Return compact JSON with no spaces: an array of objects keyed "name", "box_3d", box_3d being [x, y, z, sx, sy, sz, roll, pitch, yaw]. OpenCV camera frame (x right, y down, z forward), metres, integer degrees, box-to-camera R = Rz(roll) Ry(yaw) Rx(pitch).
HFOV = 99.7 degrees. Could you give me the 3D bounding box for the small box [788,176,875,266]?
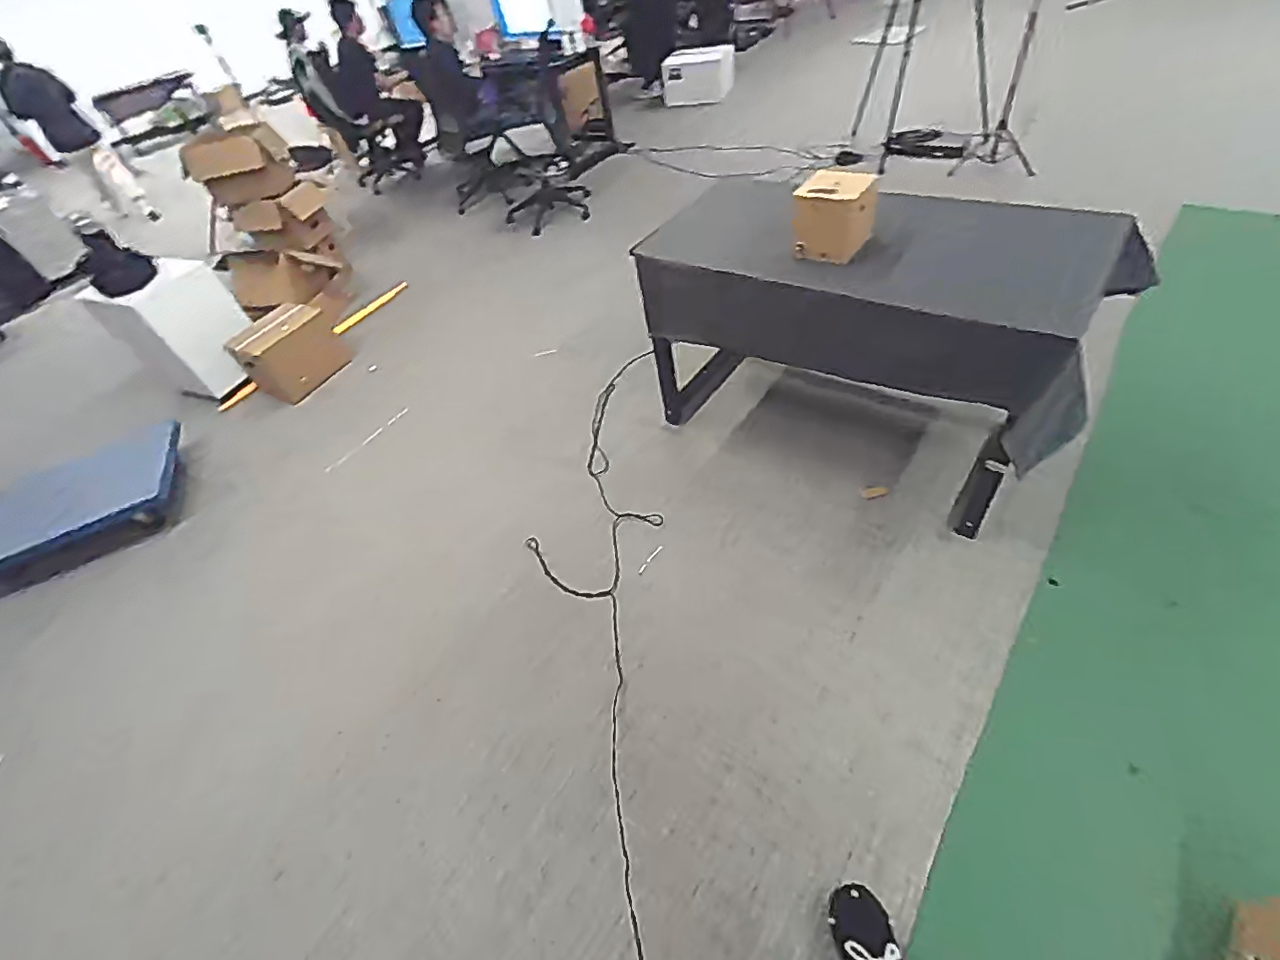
[{"name":"small box","box_3d":[0.521,-0.709,1.482,0.168,0.176,0.179,25,56,30]}]
